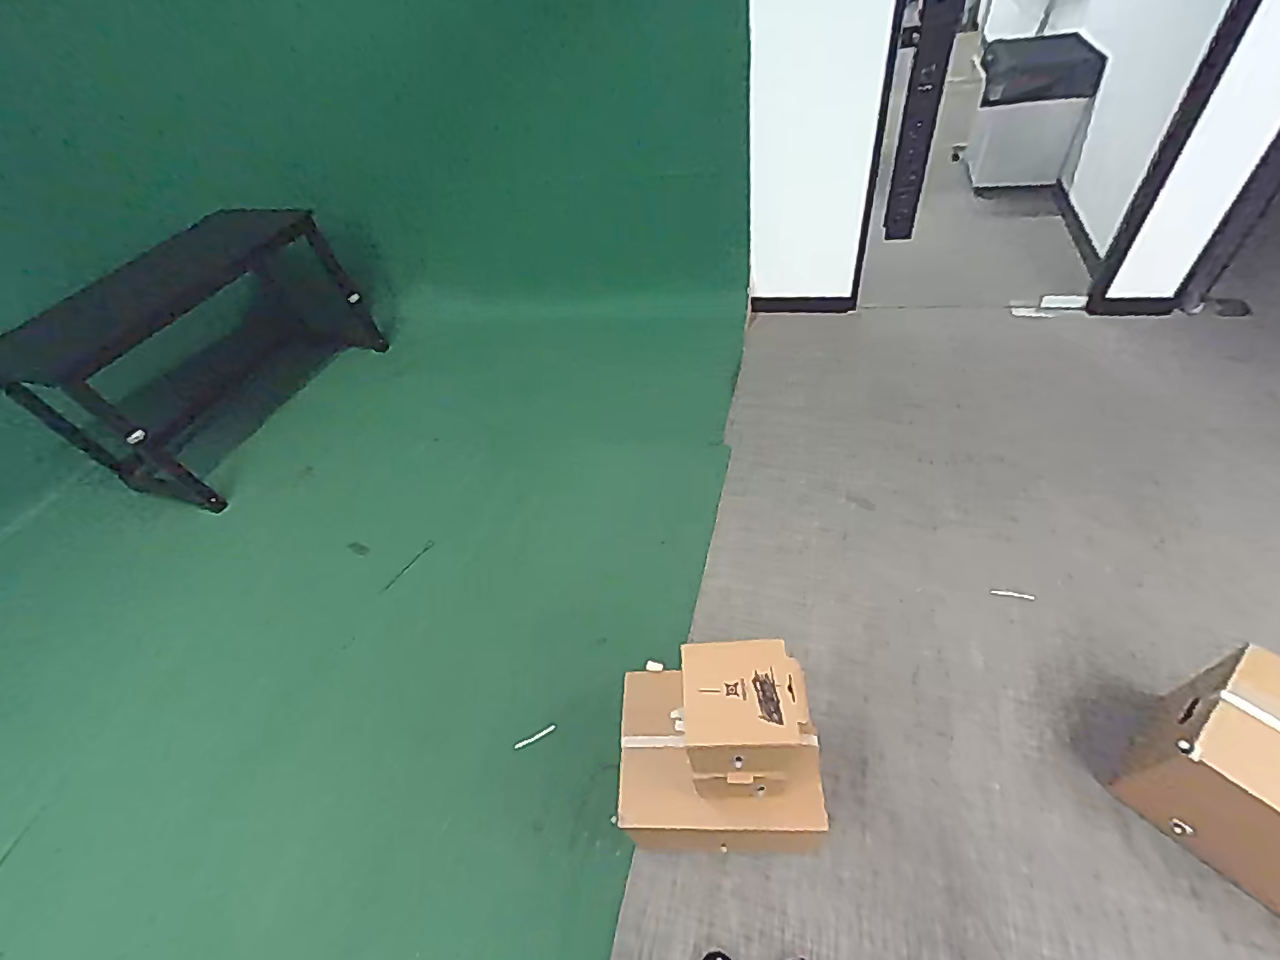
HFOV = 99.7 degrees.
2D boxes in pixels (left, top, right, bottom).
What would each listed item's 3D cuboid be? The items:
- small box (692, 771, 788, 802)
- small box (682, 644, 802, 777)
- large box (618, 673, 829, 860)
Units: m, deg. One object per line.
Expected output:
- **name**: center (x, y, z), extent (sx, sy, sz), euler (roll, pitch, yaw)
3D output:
- **small box**: center (0.187, 0.501, 1.030), extent (0.168, 0.176, 0.179), euler (-4, 48, 8)
- **small box**: center (0.166, 0.390, 0.911), extent (0.179, 0.176, 0.168), euler (-5, 48, 8)
- **large box**: center (0.184, 0.656, 1.224), extent (0.408, 0.320, 0.320), euler (-5, 46, 9)
